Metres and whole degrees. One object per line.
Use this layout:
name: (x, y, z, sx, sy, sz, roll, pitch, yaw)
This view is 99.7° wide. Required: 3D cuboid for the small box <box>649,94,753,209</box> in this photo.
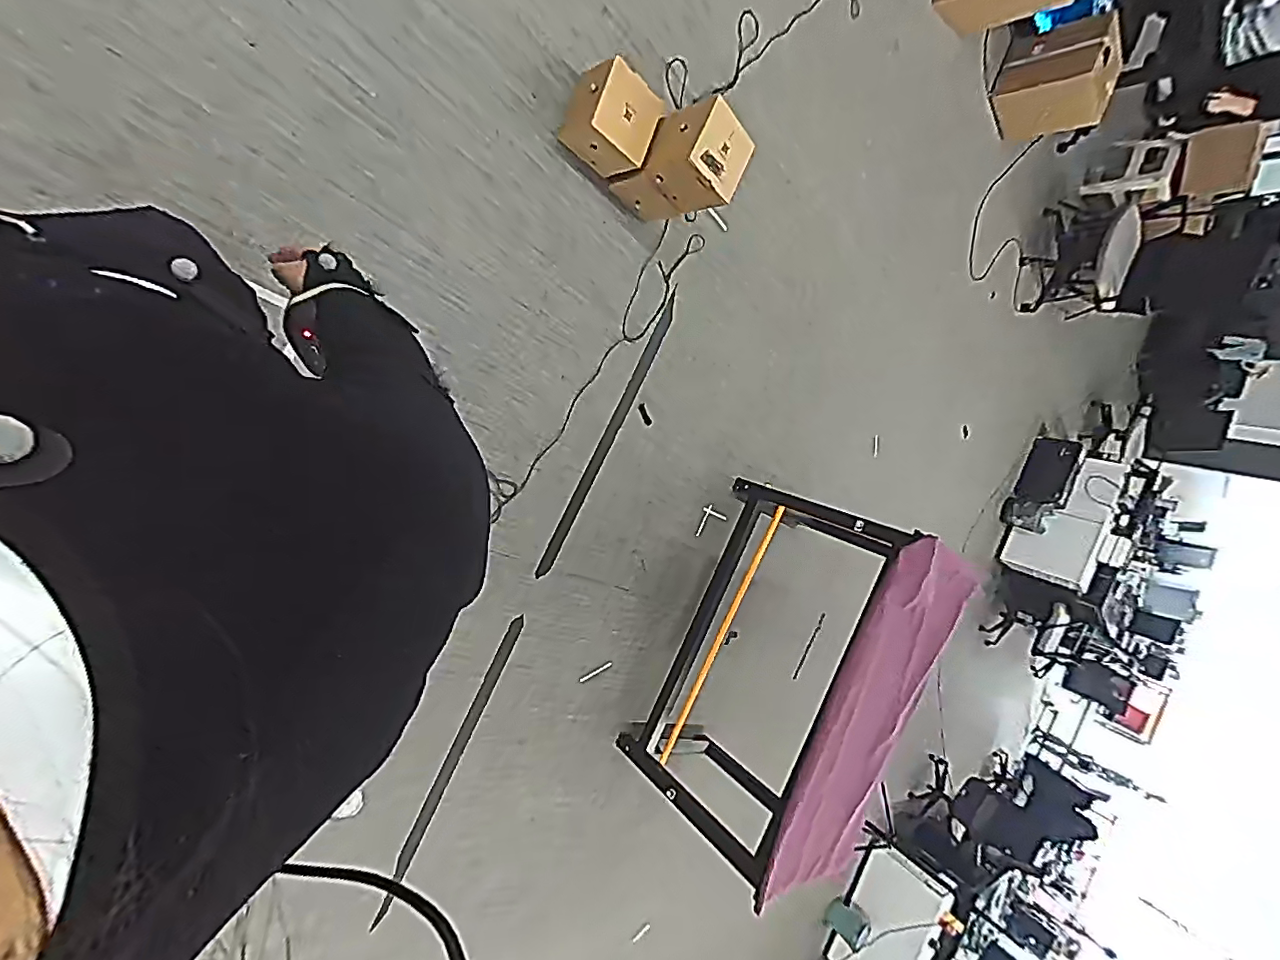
small box: (0.147, -0.813, 1.361, 0.168, 0.176, 0.179, 28, 86, -43)
